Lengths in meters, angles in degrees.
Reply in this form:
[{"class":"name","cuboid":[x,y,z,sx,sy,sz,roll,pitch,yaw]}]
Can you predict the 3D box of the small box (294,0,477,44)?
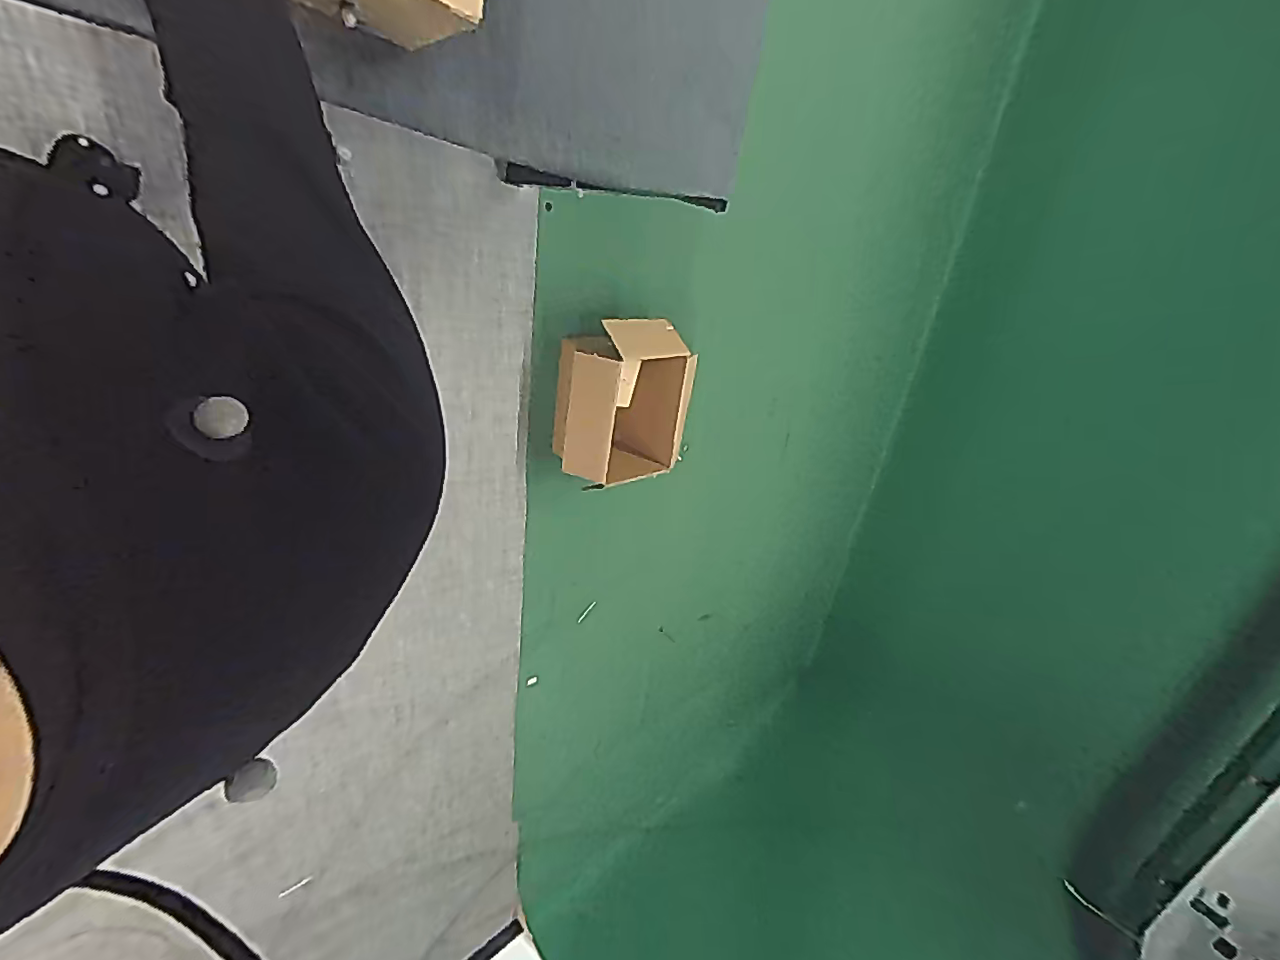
[{"class":"small box","cuboid":[-0.251,-0.526,0.472,0.168,0.176,0.179,-9,119,-44]}]
